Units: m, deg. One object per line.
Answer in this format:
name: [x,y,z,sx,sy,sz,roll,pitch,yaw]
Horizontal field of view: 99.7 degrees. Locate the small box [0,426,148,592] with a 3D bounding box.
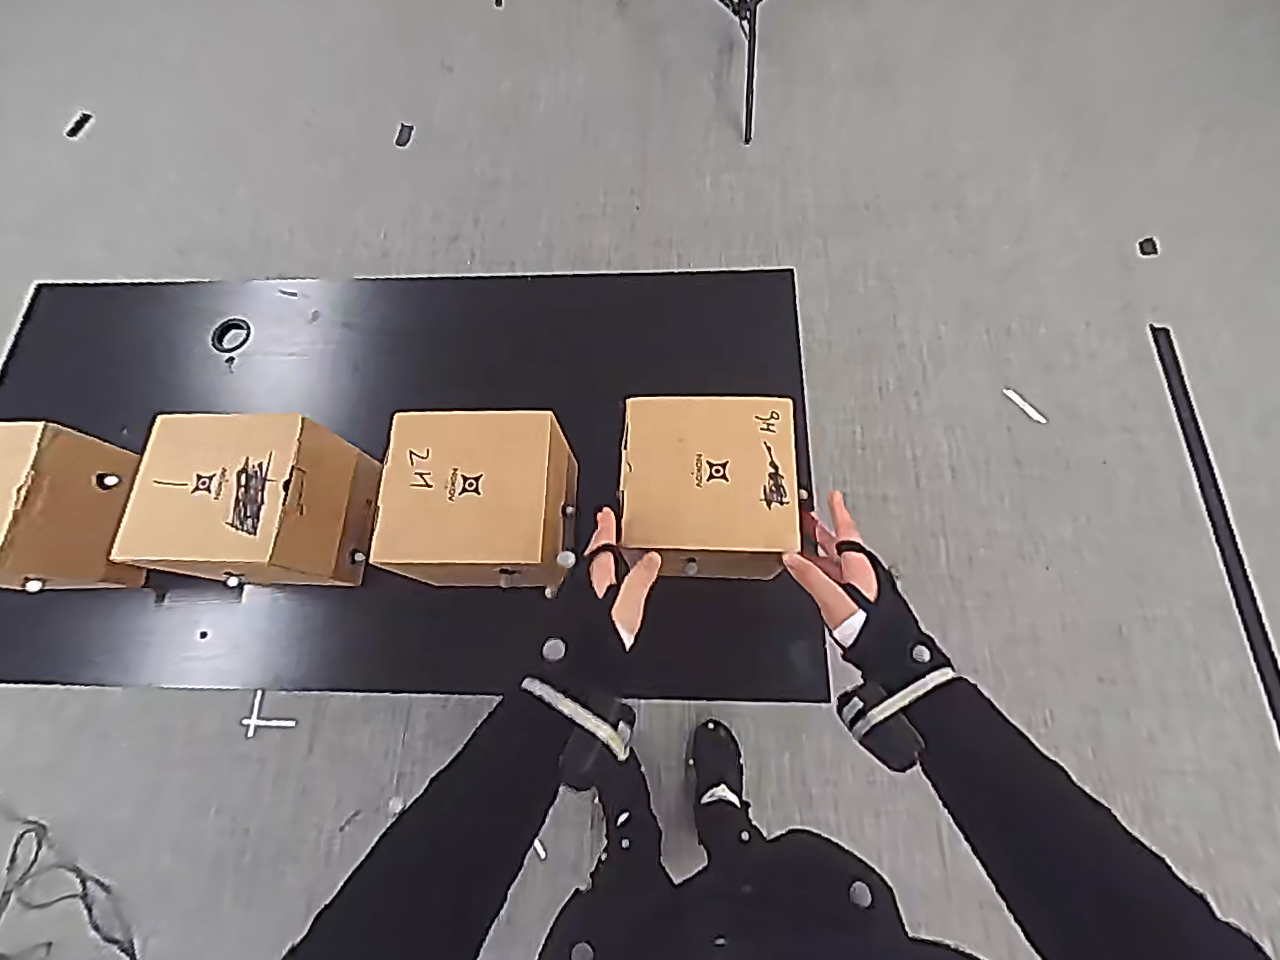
small box: [-0.741,0.044,0.667,0.179,0.176,0.168,-3,71,3]

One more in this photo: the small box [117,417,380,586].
small box: [-0.446,0.034,0.651,0.179,0.176,0.168,0,71,5]

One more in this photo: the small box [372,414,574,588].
small box: [-0.176,0.032,0.634,0.179,0.176,0.168,-1,71,3]

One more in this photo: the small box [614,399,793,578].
small box: [0.072,0.018,0.624,0.179,0.176,0.168,0,71,5]
